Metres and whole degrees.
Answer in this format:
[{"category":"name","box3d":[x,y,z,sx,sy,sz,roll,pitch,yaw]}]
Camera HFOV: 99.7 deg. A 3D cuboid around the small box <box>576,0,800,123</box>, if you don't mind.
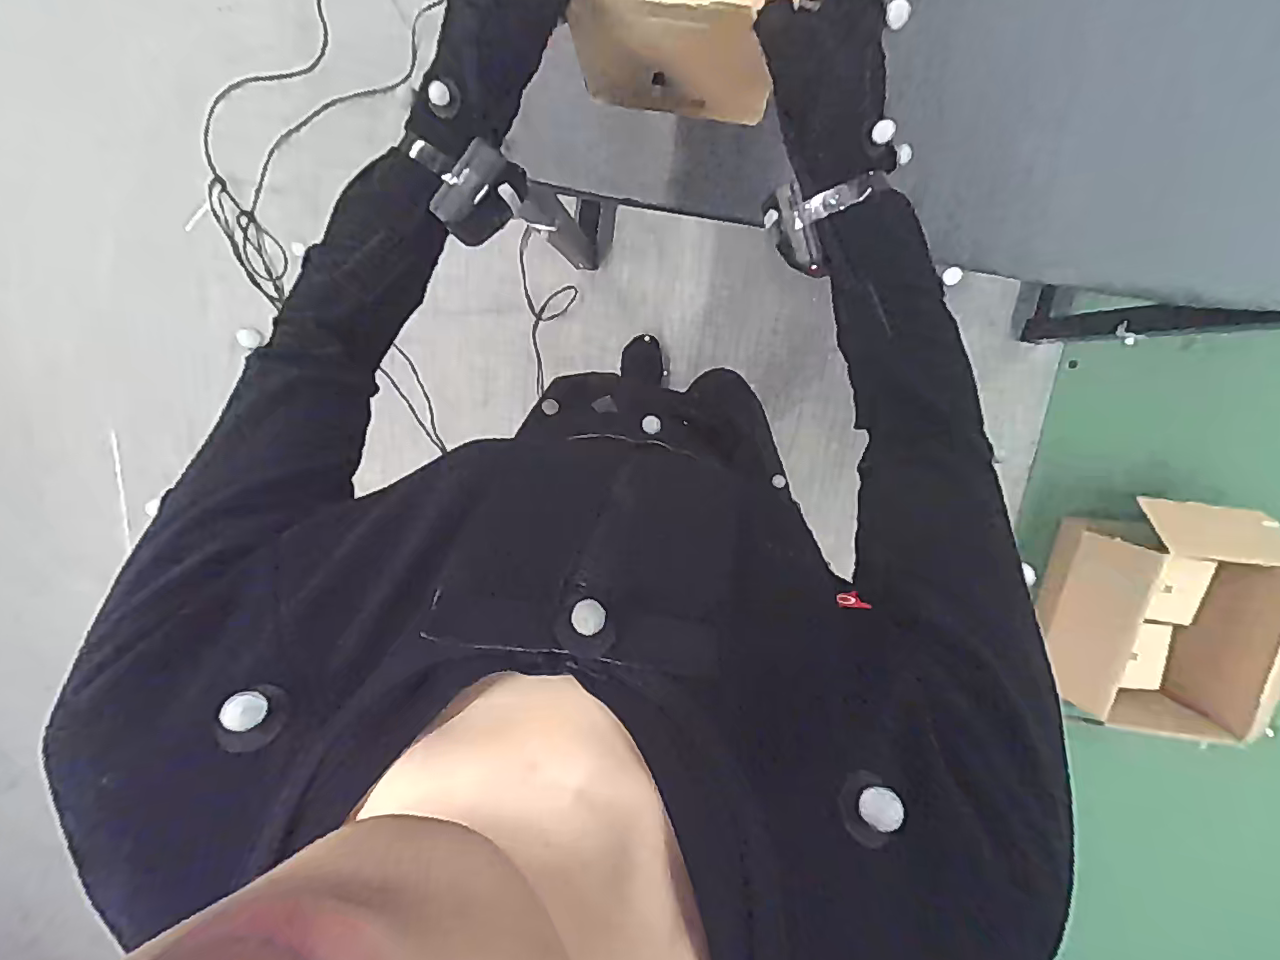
[{"category":"small box","box3d":[0.042,-0.426,0.431,0.168,0.176,0.179,8,103,1]}]
